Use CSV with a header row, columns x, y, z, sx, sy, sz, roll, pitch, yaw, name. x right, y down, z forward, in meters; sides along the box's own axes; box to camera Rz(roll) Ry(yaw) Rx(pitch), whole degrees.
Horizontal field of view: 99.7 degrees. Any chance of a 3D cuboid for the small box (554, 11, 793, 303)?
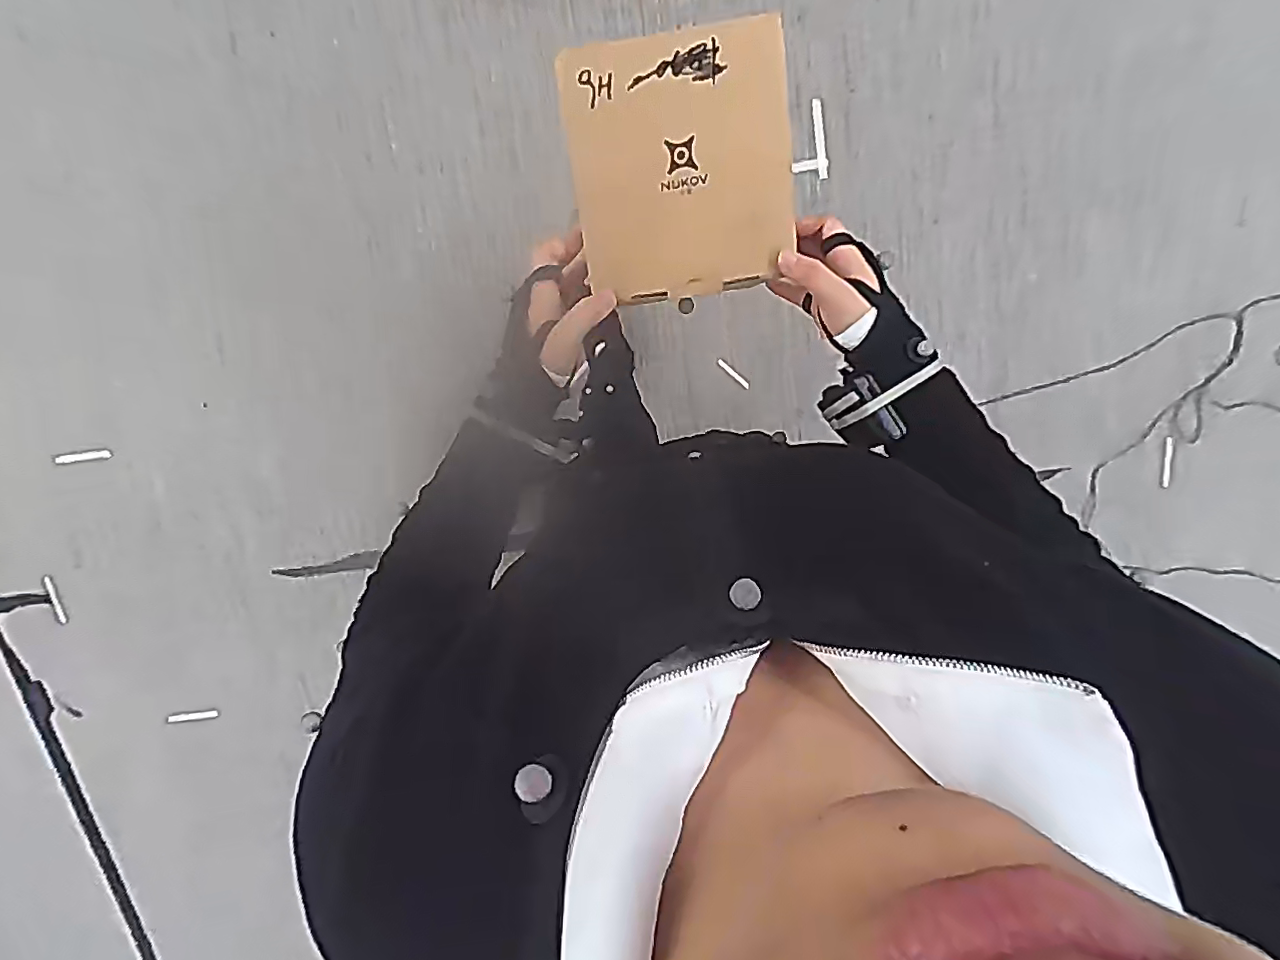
x,y,z,sx,sy,sz,roll,pitch,yaw,name
0.031,-0.261,0.483,0.168,0.176,0.179,-9,108,2,small box
